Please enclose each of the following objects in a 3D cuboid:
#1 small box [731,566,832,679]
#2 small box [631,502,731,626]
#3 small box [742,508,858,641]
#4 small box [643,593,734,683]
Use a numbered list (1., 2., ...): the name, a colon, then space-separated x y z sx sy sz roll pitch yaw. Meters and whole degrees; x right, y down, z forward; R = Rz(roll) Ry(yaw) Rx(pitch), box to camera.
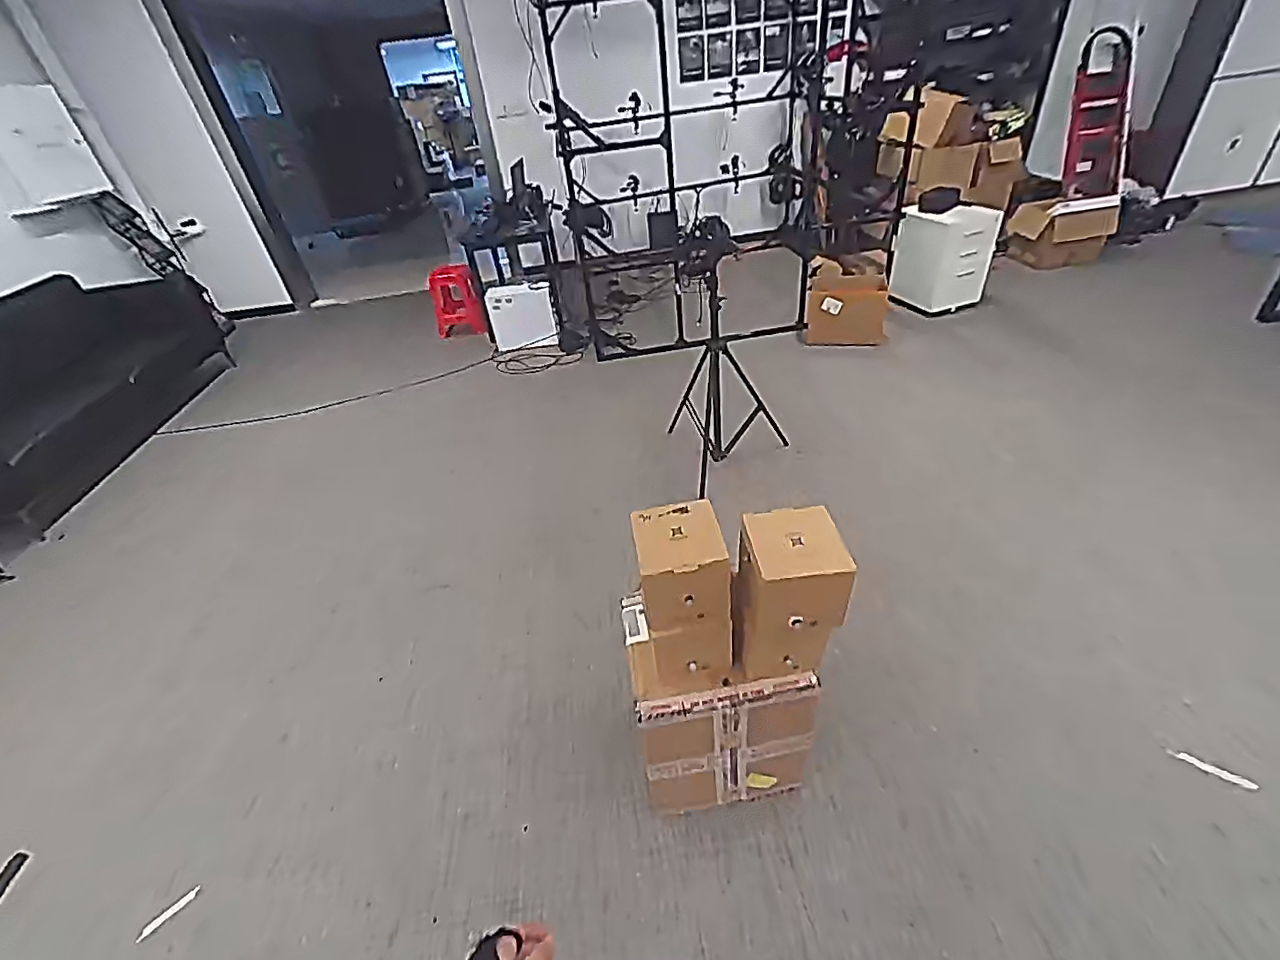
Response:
1. small box: 0.293 0.296 1.159 0.168 0.176 0.179 -8 38 -3
2. small box: 0.083 0.173 1.082 0.168 0.176 0.179 -10 40 -1
3. small box: 0.295 0.181 1.042 0.168 0.176 0.179 -9 39 -1
4. small box: 0.101 0.308 1.175 0.168 0.176 0.179 -12 40 -3
